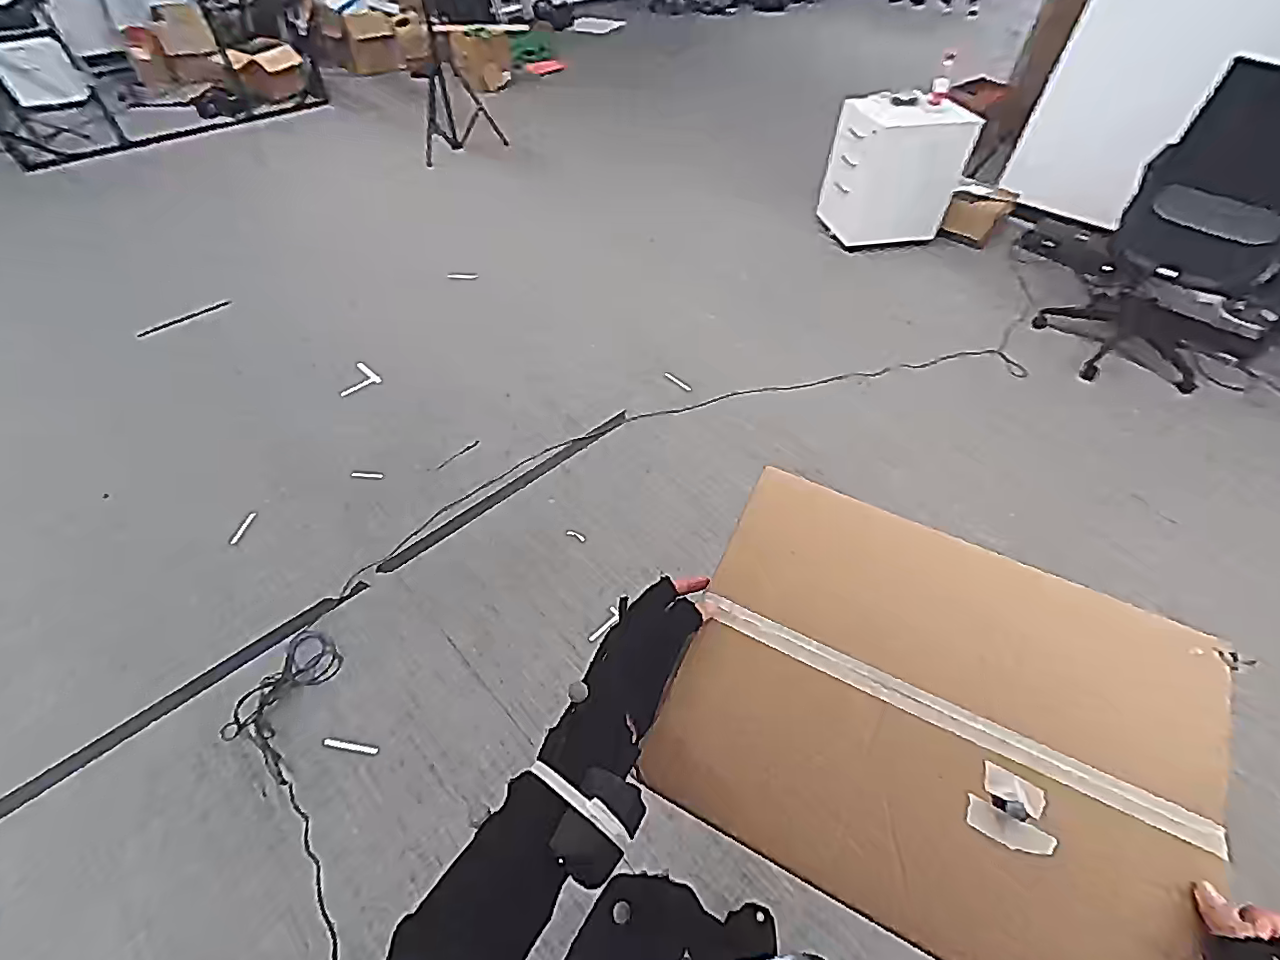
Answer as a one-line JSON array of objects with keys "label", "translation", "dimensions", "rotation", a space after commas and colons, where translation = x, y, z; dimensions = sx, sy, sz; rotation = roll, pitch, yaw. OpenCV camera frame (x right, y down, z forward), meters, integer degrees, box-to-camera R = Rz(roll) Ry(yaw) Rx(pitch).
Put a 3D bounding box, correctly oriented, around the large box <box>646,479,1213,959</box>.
[{"label": "large box", "translation": [0.254, 0.257, 0.588], "dimensions": [0.408, 0.320, 0.320], "rotation": [23, 68, 15]}]
